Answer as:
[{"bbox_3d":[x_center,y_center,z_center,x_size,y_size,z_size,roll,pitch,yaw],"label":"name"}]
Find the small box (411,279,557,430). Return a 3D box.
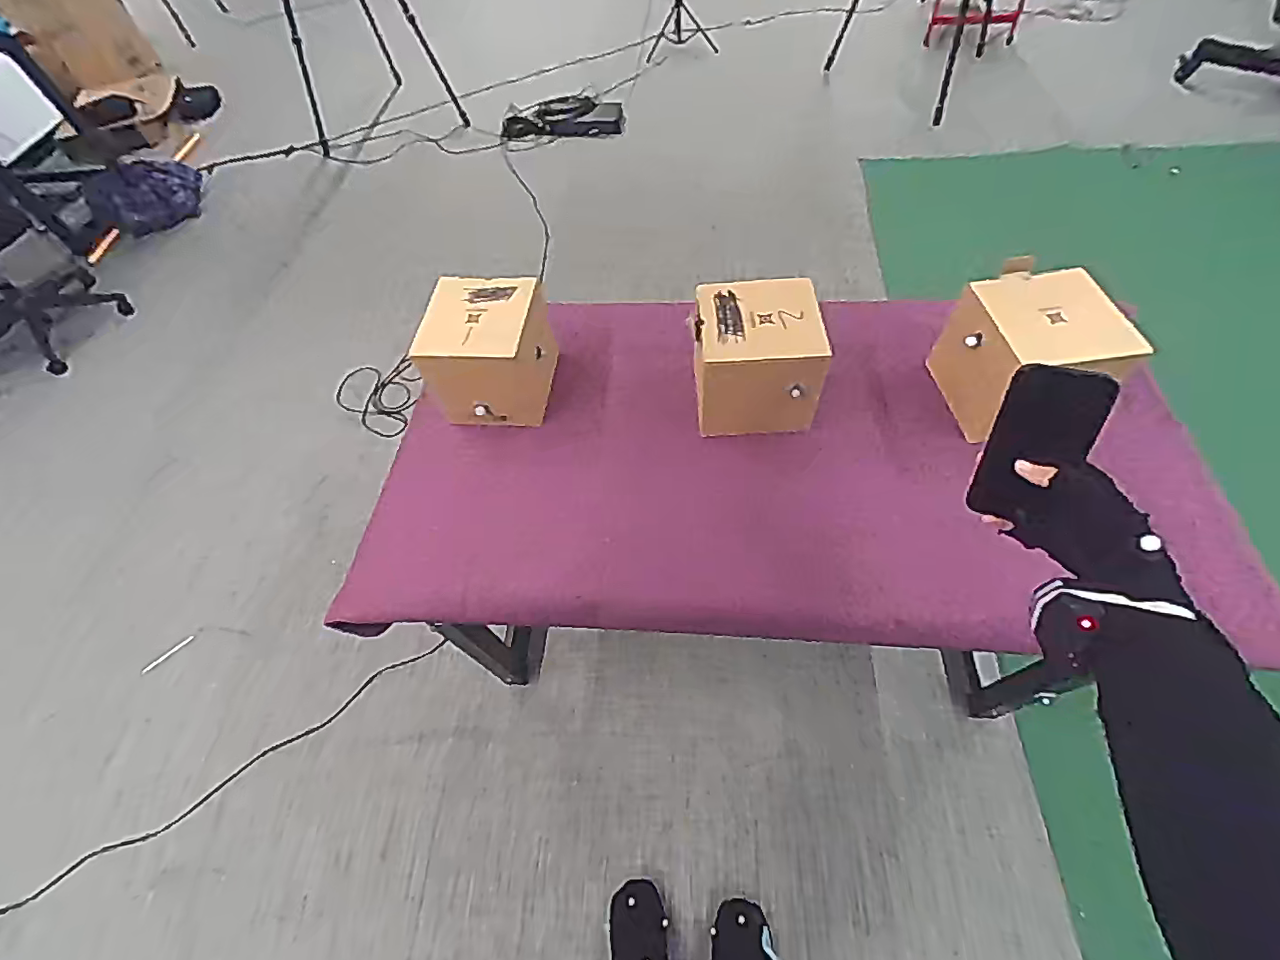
[{"bbox_3d":[-0.240,-0.205,0.890,0.168,0.176,0.179,3,59,7],"label":"small box"}]

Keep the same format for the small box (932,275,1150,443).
[{"bbox_3d":[0.568,-0.169,0.798,0.168,0.176,0.179,-7,56,1],"label":"small box"}]
